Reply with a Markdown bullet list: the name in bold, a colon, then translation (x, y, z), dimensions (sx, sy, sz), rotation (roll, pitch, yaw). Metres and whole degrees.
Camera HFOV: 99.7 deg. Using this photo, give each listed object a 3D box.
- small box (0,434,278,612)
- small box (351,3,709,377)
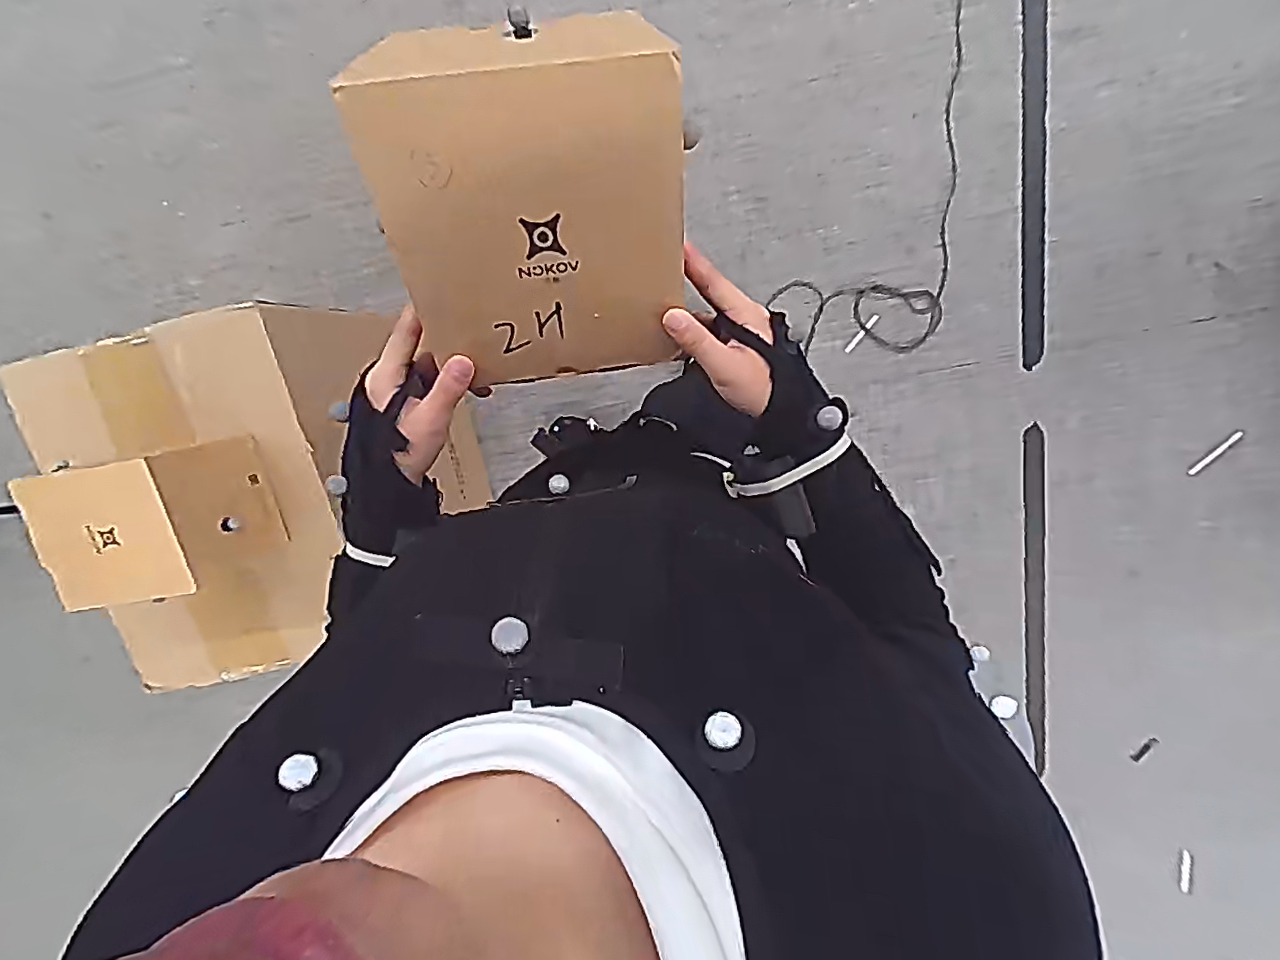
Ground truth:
- **small box**: translation (-0.601, 0.044, 0.683), dimensions (0.179, 0.176, 0.168), rotation (-9, 104, 5)
- **small box**: translation (-0.057, -0.194, 0.356), dimensions (0.168, 0.176, 0.179), rotation (-7, 135, -4)
